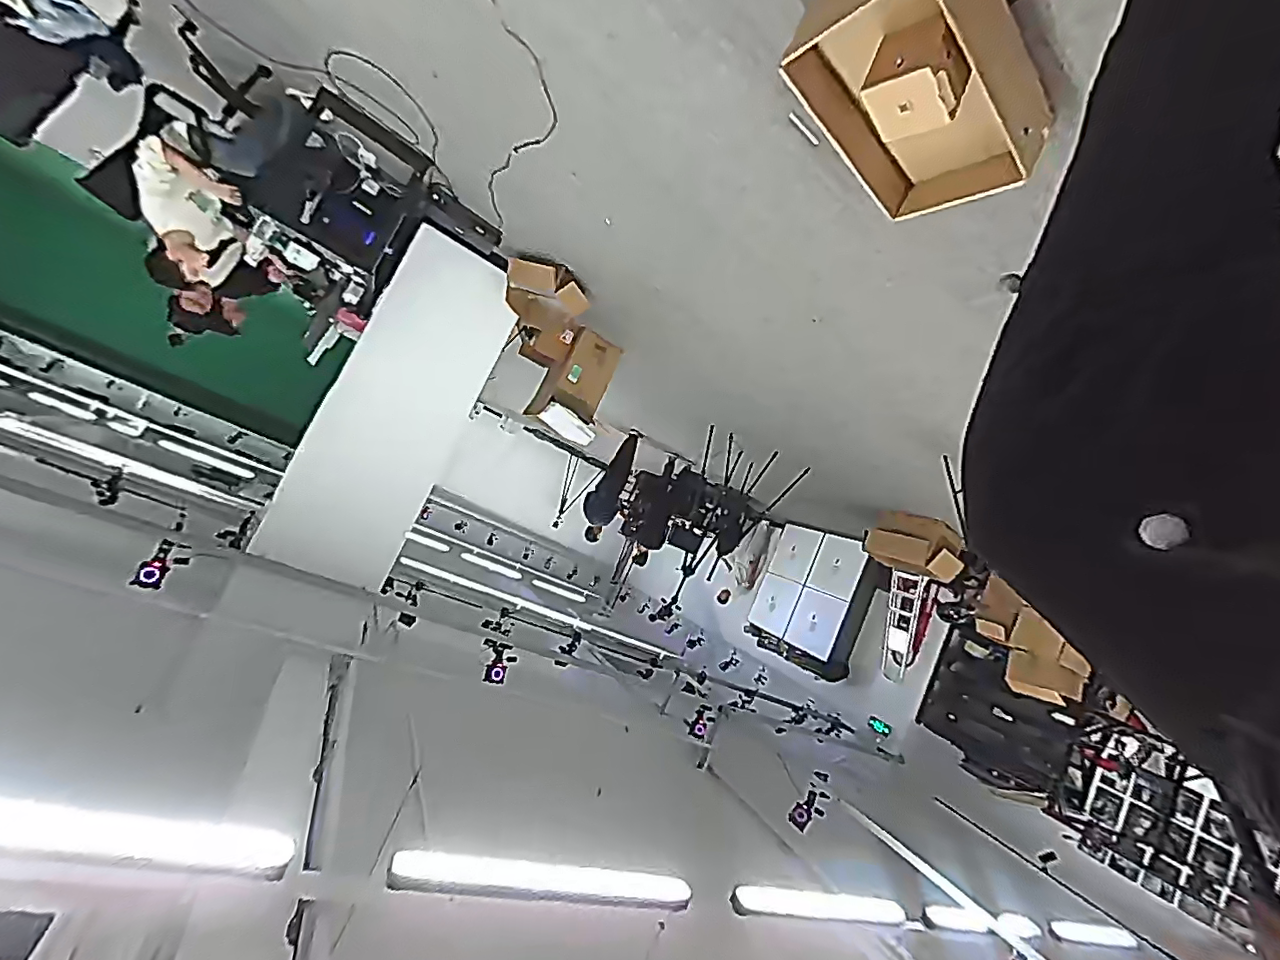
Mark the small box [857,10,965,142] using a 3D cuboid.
[{"bbox_3d":[0.669,-0.983,1.323,0.168,0.176,0.179,29,172,-41],"label":"small box"}]
